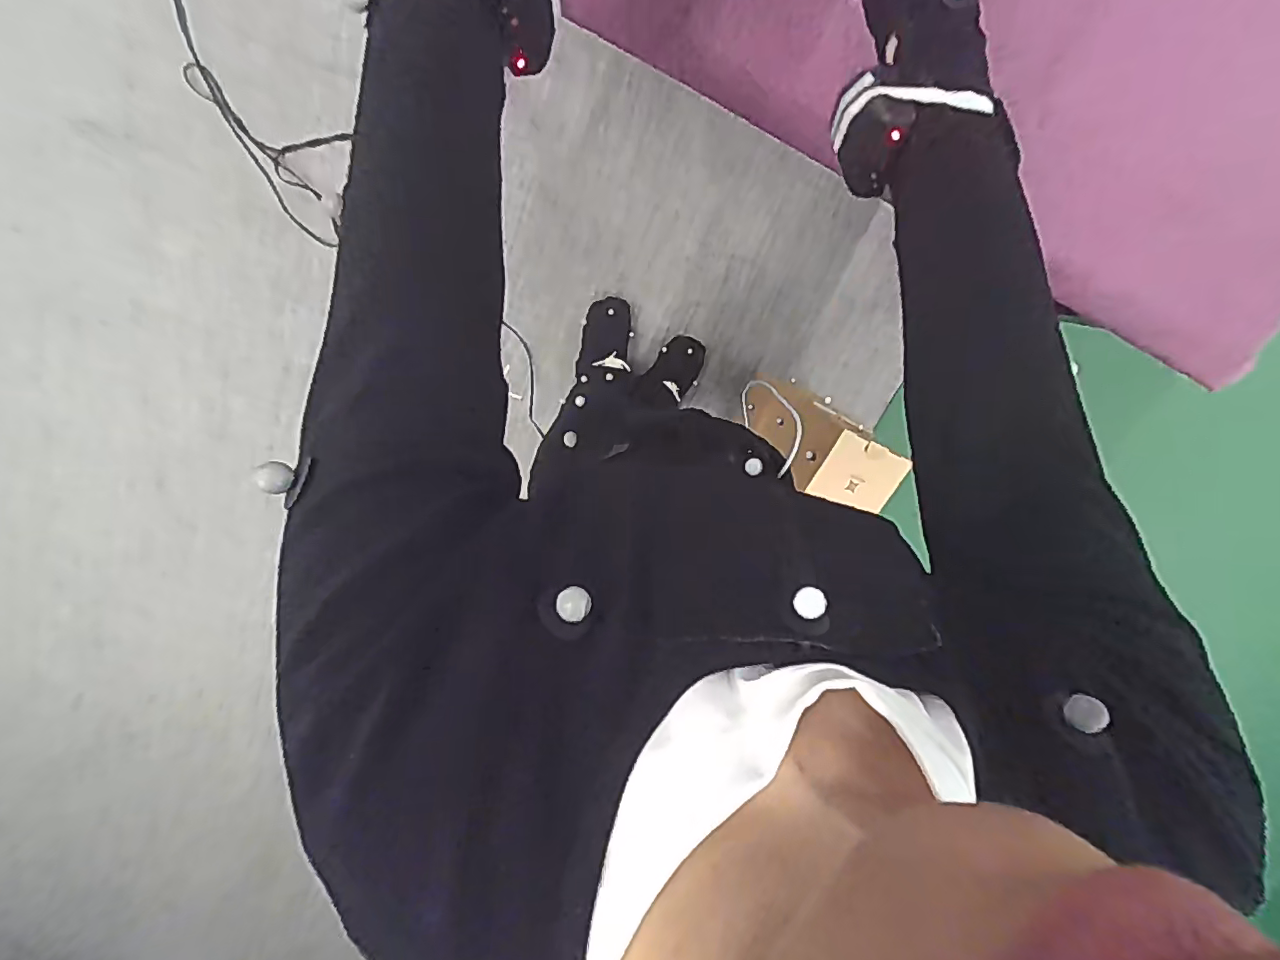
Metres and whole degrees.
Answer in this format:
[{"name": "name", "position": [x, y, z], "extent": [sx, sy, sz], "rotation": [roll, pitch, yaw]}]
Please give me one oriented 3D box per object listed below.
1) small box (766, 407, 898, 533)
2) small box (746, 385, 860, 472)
[{"name": "small box", "position": [0.381, -0.025, 1.116], "extent": [0.168, 0.176, 0.179], "rotation": [23, 109, -15]}, {"name": "small box", "position": [0.367, -0.097, 1.261], "extent": [0.168, 0.176, 0.179], "rotation": [24, 108, -15]}]
